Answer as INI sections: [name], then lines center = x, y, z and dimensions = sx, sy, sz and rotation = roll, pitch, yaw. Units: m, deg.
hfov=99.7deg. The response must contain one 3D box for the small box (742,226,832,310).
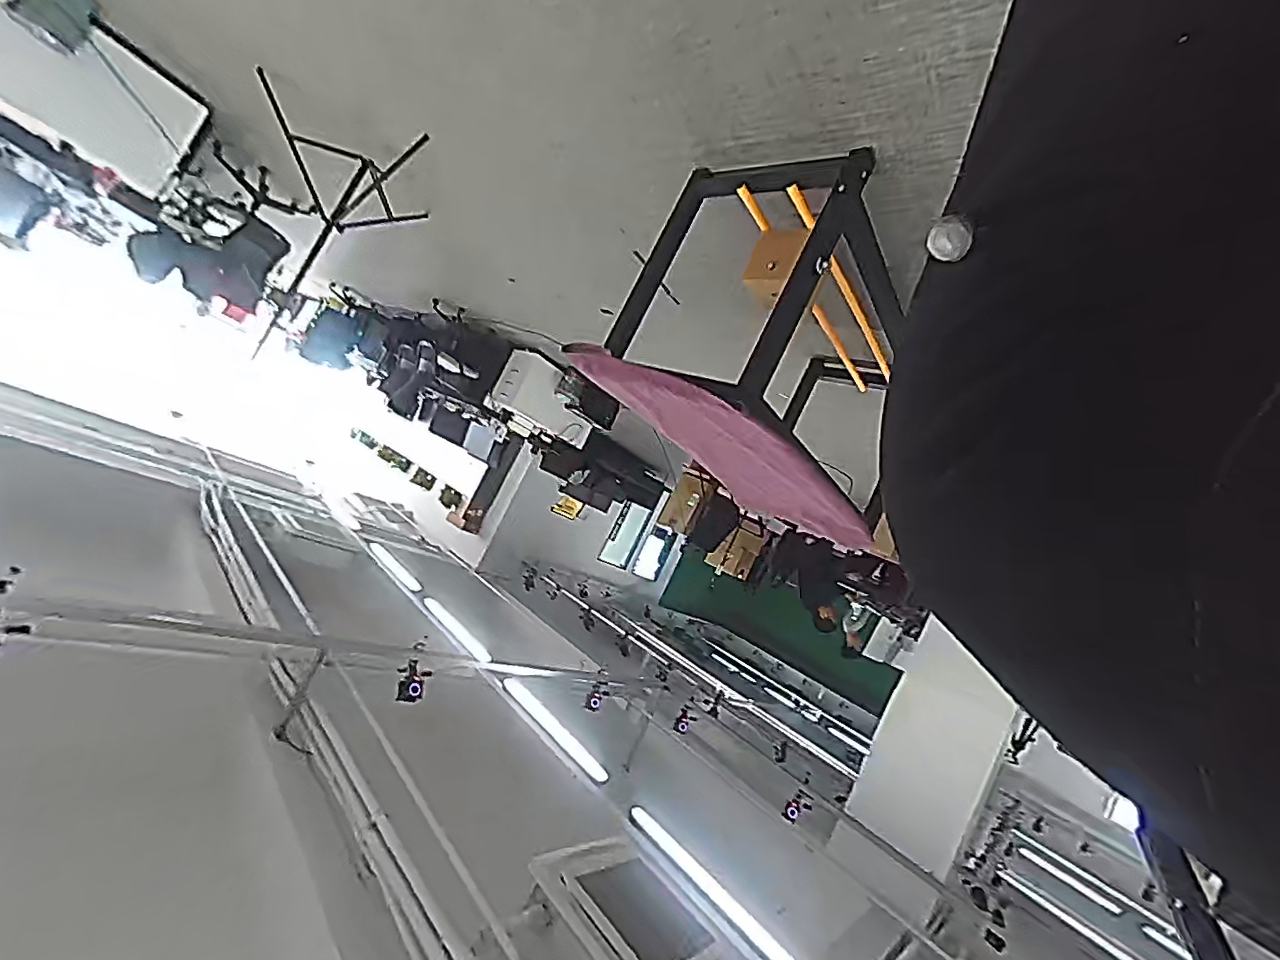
[small box]
center = 0.439, -0.629, 1.607
dimensions = 0.179, 0.176, 0.168
rotation = 20, 174, 42
